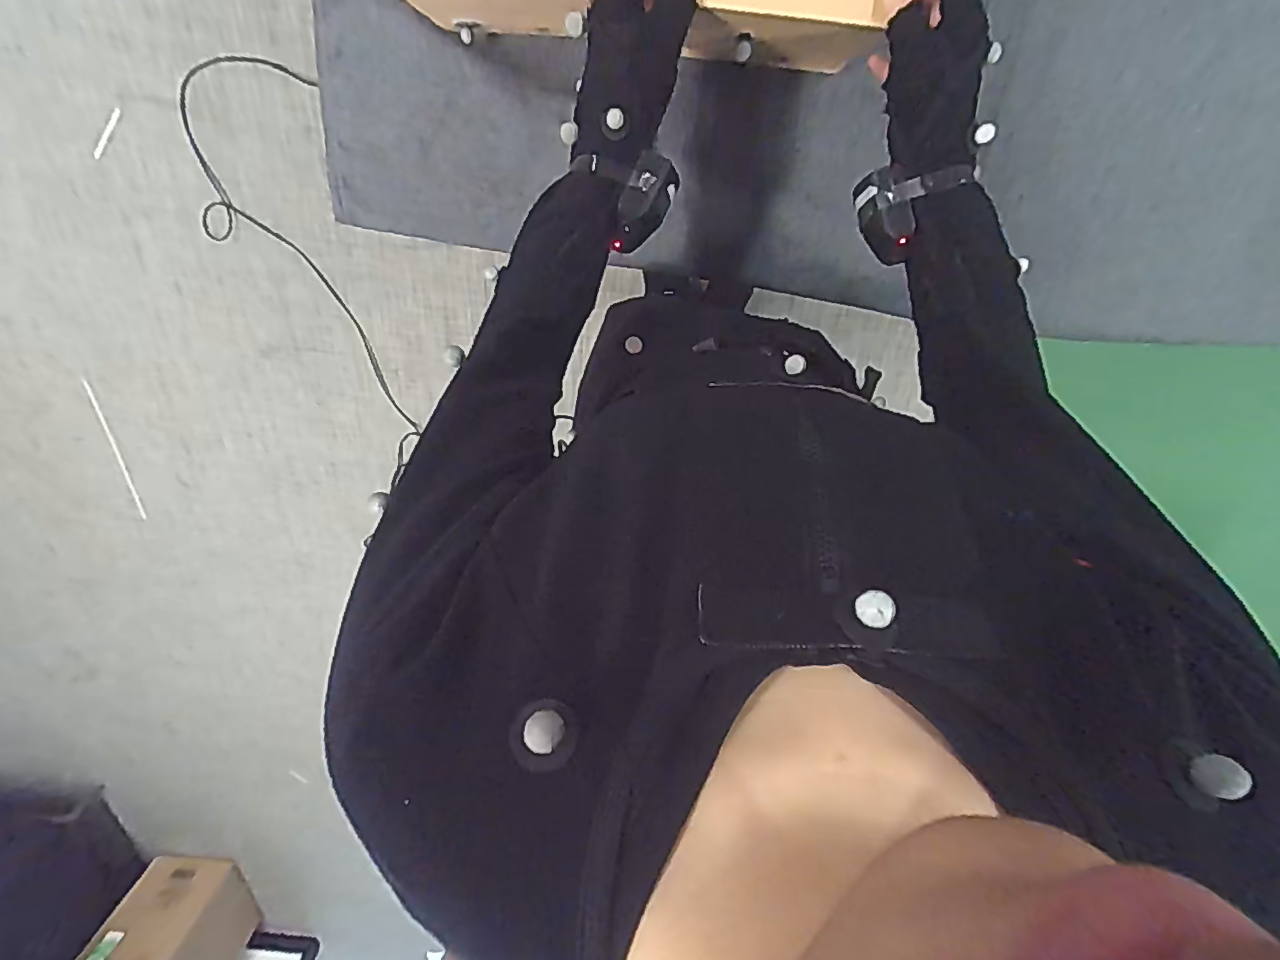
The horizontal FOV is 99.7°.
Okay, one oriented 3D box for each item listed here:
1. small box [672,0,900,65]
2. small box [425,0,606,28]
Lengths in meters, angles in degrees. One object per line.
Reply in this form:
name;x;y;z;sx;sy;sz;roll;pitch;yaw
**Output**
small box;0.119;-0.451;0.422;0.168;0.176;0.179;7;117;1
small box;-0.115;-0.483;0.420;0.168;0.176;0.179;4;116;2
